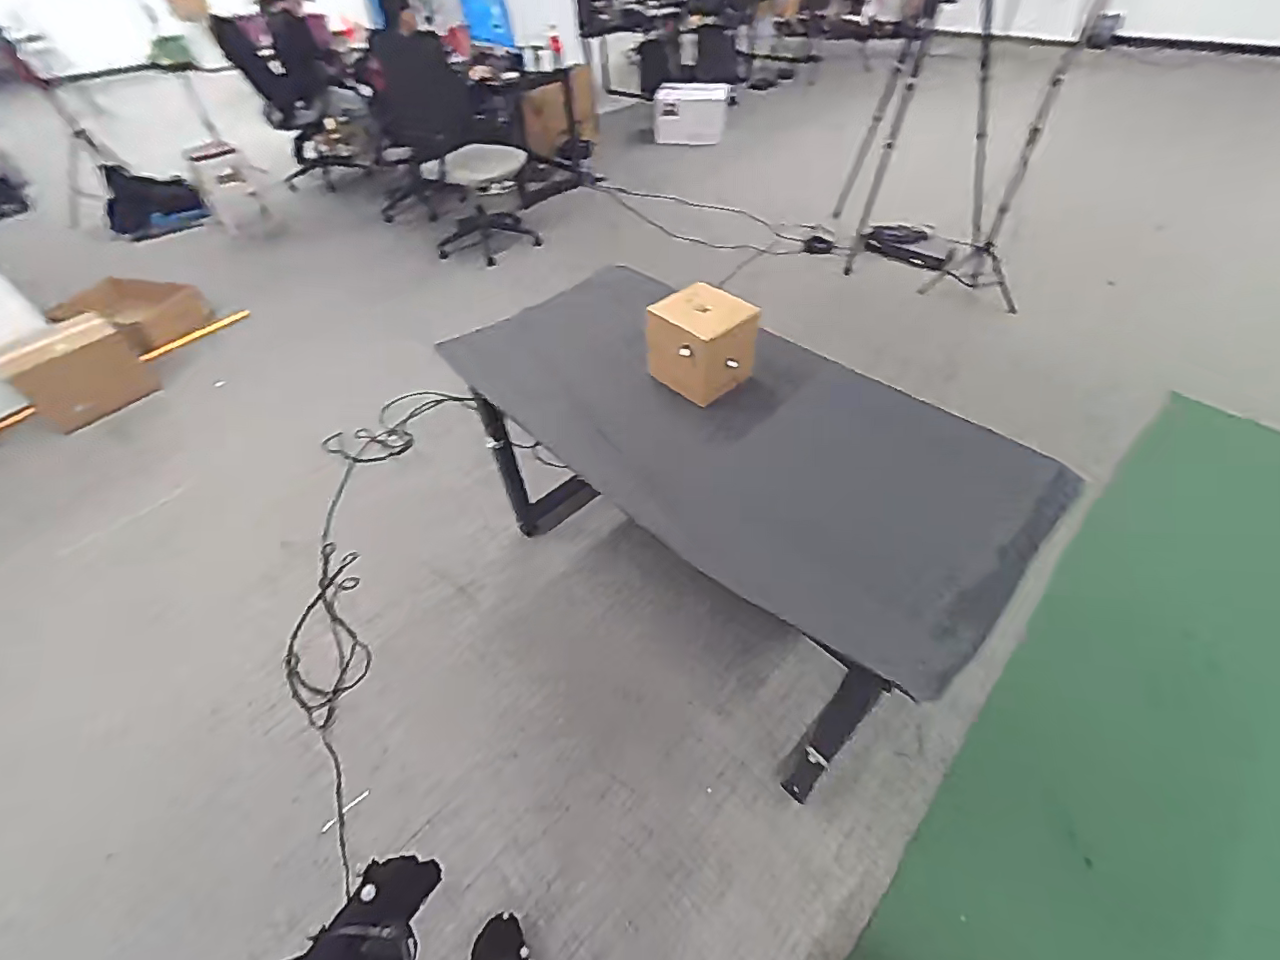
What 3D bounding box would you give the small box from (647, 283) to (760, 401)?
[{"bbox_3d":[0.135,-0.294,1.174,0.168,0.176,0.179,-34,54,-25],"label":"small box"}]
